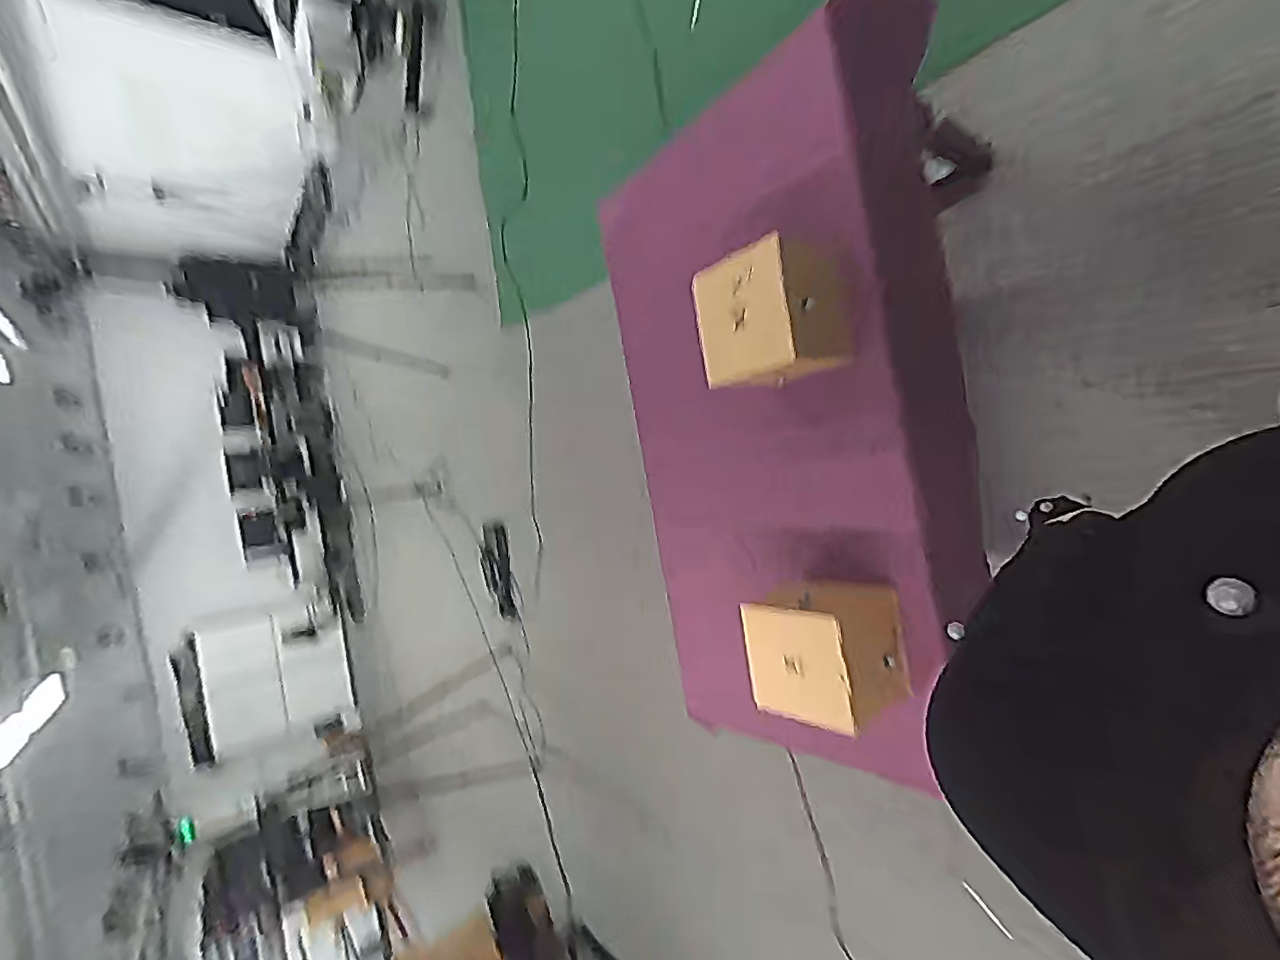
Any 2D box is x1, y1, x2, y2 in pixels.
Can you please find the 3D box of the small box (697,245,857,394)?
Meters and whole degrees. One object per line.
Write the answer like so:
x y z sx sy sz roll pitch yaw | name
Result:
0.217 -0.242 0.847 0.168 0.176 0.179 -9 91 51 | small box

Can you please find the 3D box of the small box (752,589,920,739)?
0.307 0.273 0.850 0.179 0.176 0.168 -10 90 51 | small box
